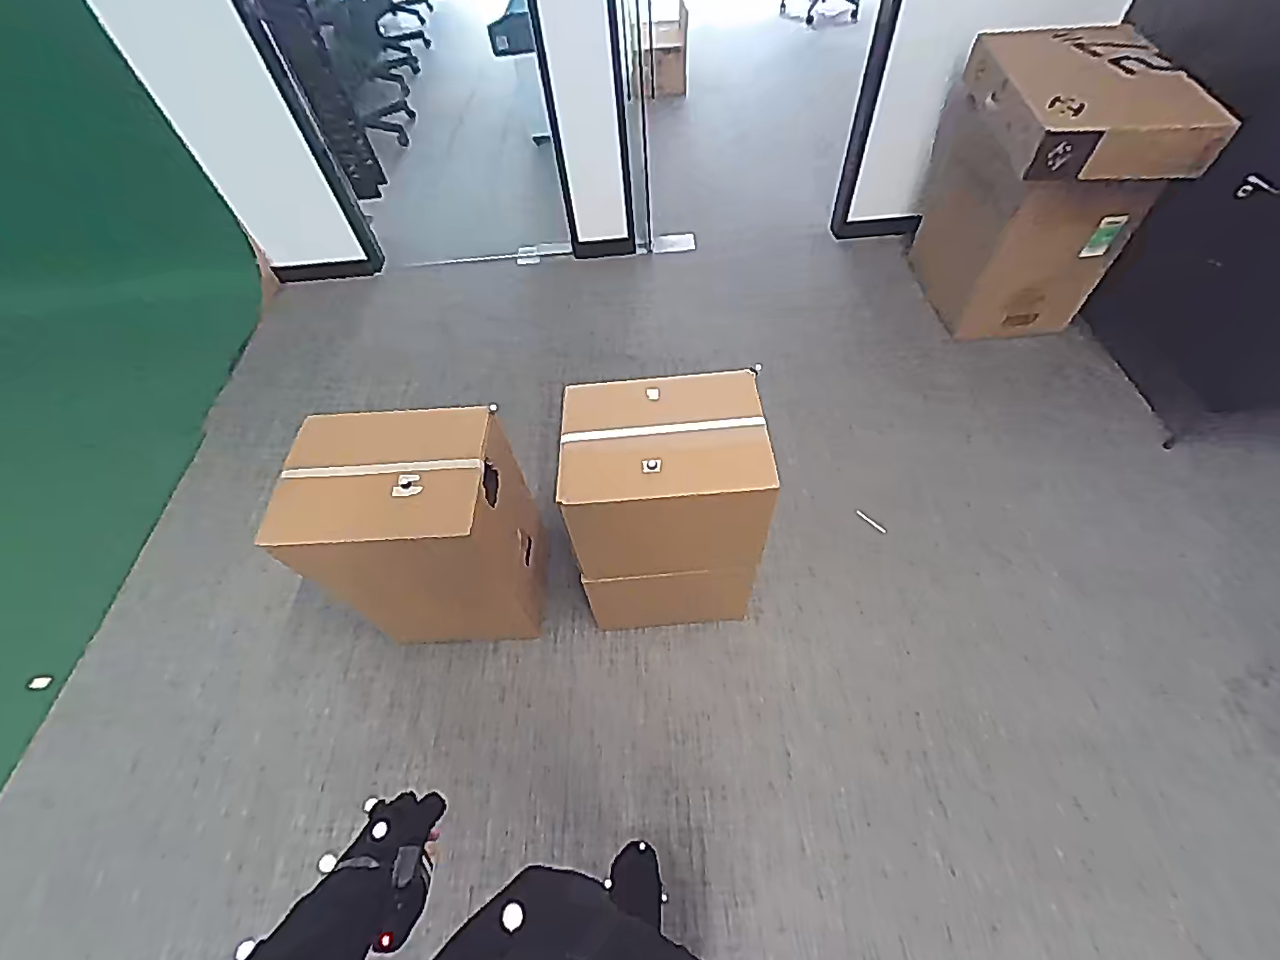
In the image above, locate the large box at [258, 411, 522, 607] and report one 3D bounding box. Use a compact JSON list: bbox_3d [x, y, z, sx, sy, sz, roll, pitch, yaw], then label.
[{"bbox_3d":[-0.502,0.072,1.188,0.408,0.320,0.320,-2,56,1],"label":"large box"}]
